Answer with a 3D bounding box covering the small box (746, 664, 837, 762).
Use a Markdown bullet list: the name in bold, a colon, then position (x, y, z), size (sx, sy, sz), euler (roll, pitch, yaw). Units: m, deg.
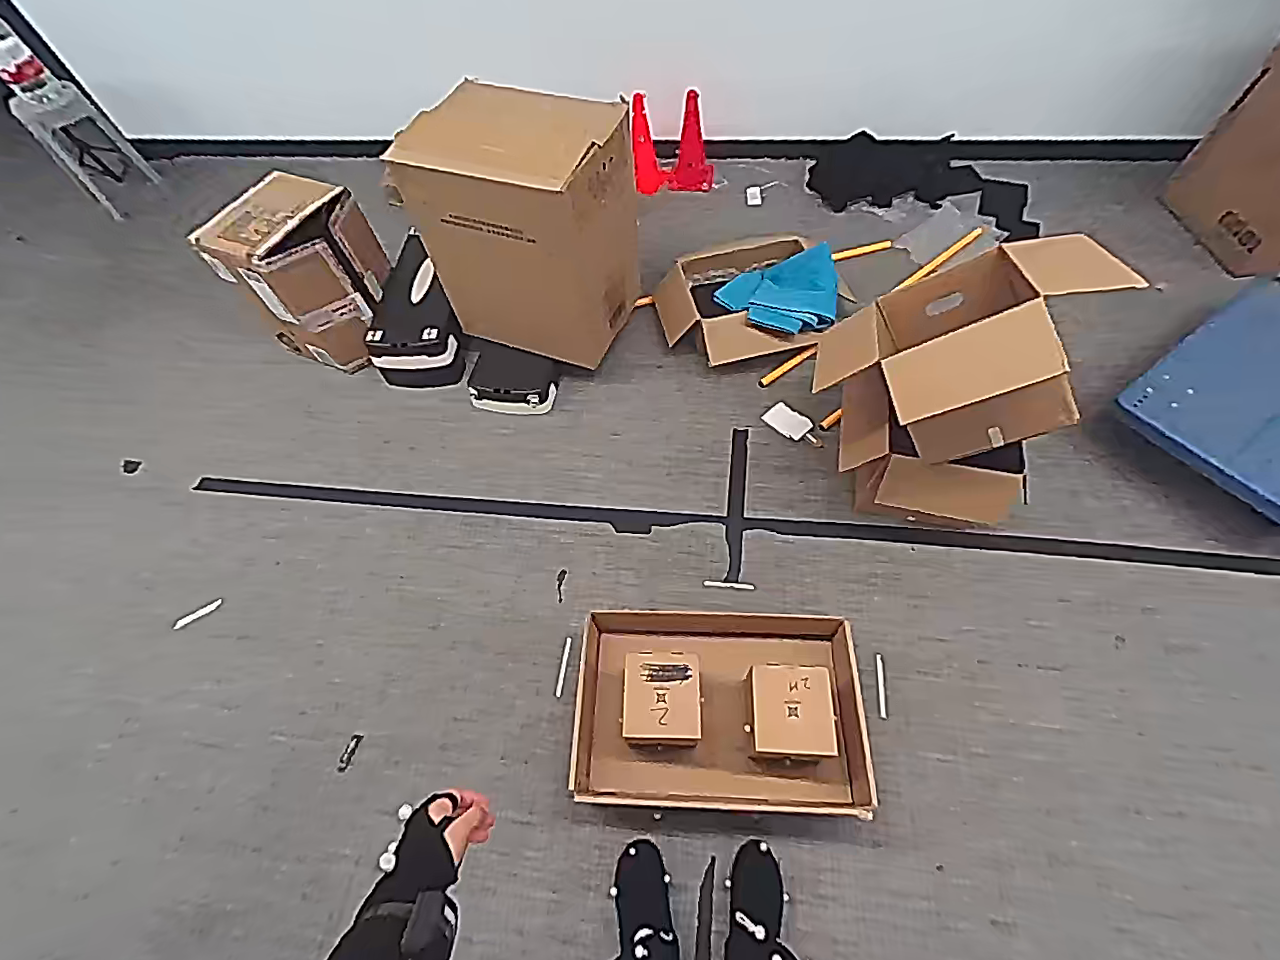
- **small box**: position (0.328, 0.521, 1.201), size (0.168, 0.176, 0.179), euler (1, 58, 5)
